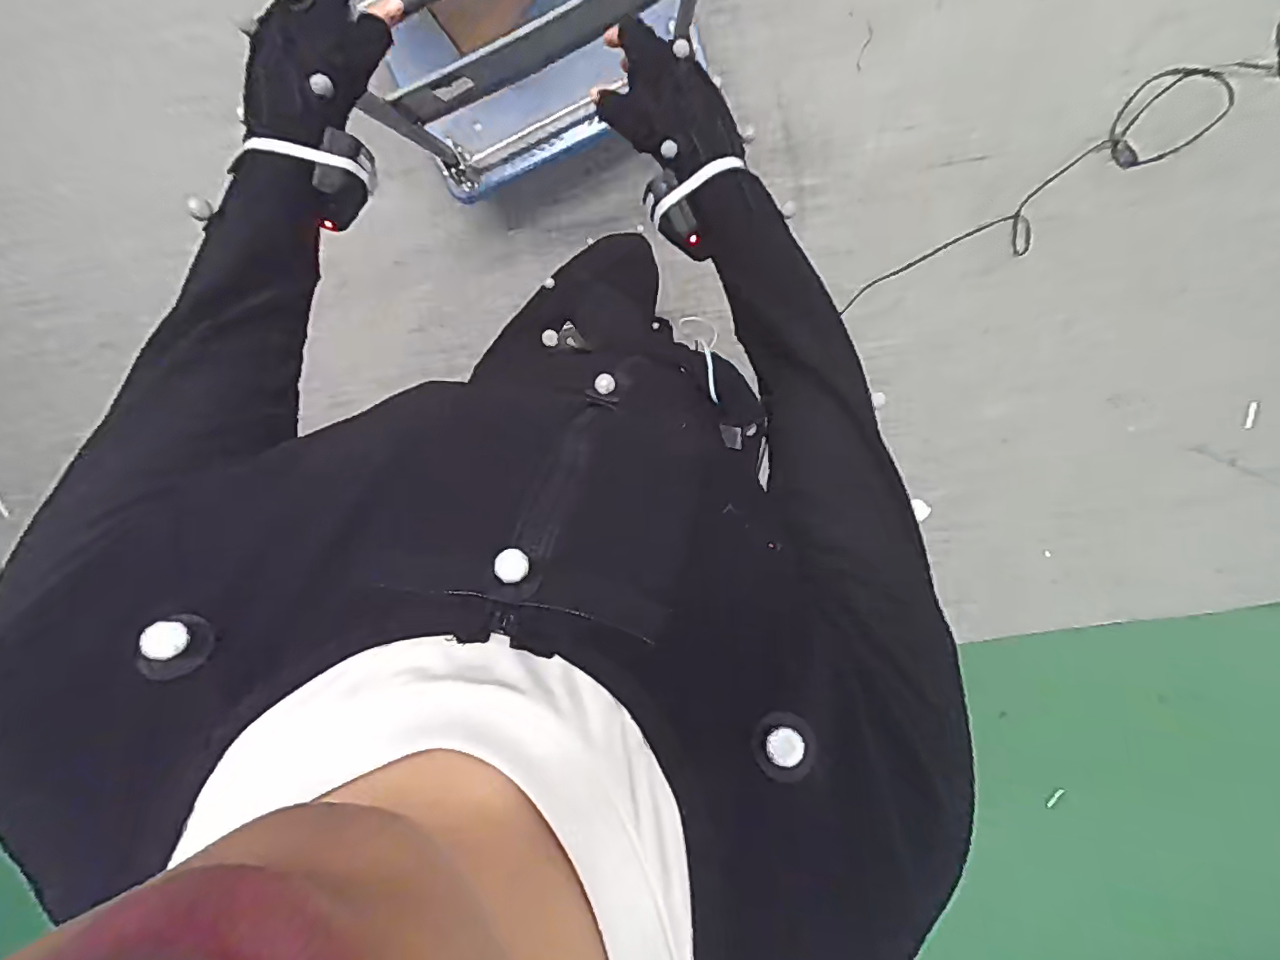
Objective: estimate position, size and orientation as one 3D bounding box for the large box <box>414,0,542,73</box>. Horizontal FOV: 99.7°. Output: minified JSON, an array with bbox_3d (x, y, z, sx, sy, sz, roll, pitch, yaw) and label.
[{"bbox_3d":[-0.275,-0.981,0.847,0.320,0.320,0.408,43,105,-12],"label":"large box"}]
